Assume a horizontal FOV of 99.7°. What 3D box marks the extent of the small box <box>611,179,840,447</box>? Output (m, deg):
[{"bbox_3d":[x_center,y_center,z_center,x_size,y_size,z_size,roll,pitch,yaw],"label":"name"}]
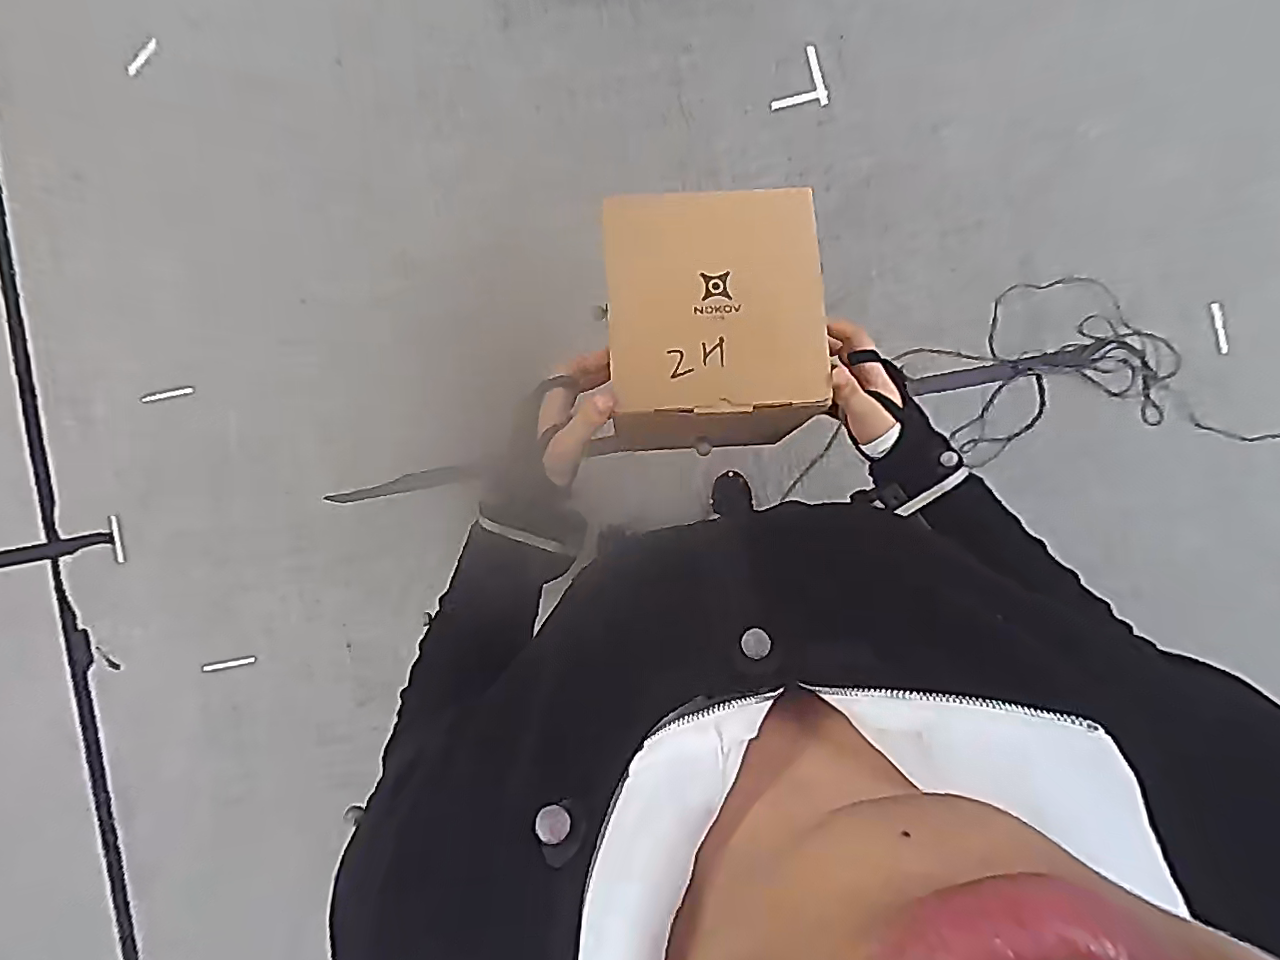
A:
[{"bbox_3d":[0.060,-0.133,0.484,0.168,0.176,0.179,-3,83,0],"label":"small box"}]
